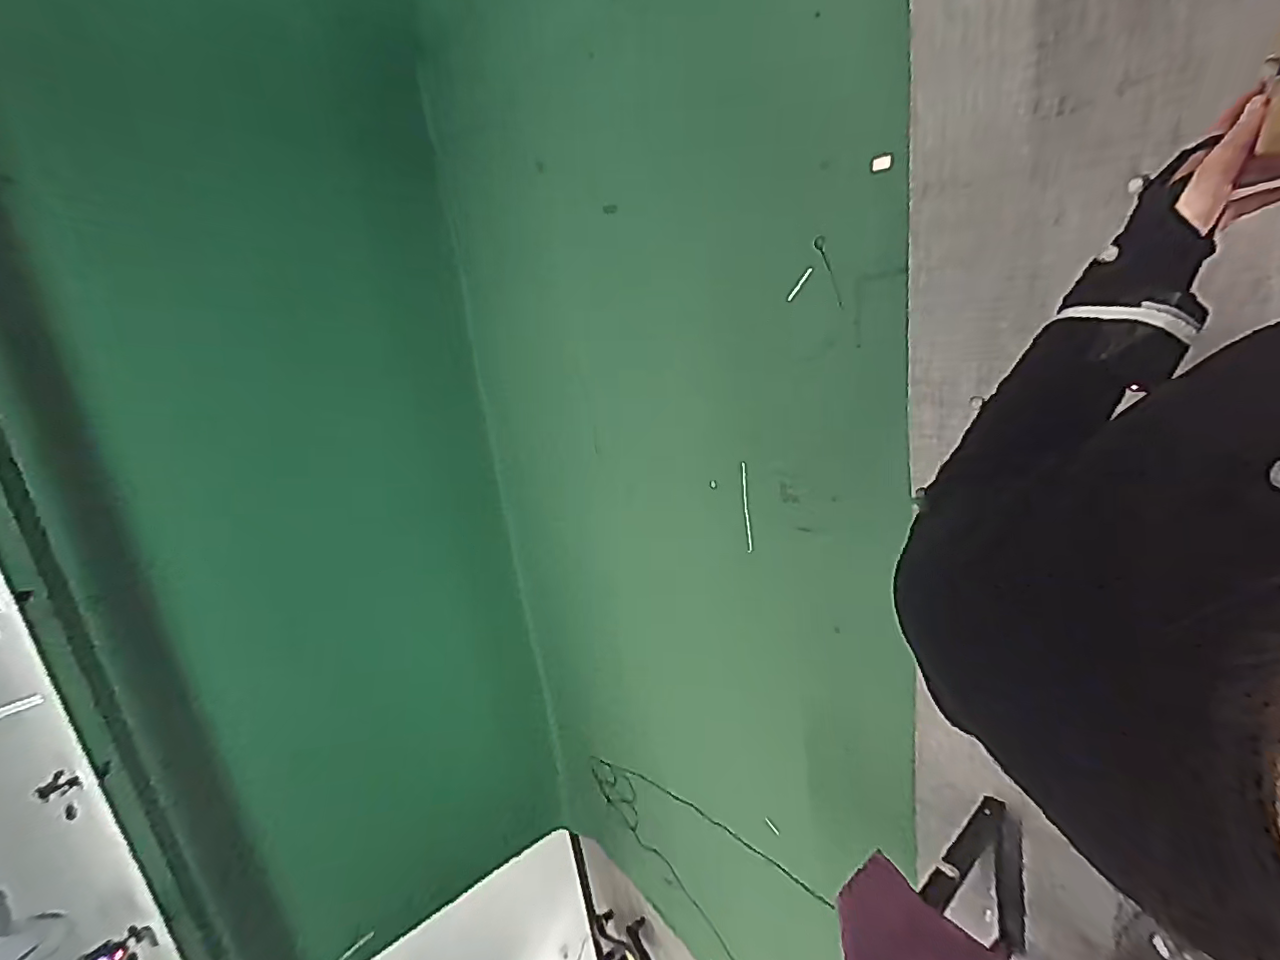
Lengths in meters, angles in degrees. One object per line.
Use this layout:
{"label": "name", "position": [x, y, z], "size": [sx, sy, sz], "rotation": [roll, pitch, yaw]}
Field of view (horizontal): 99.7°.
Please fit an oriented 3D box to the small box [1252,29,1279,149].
{"label": "small box", "position": [0.476, -0.286, 0.282], "size": [0.168, 0.176, 0.179], "rotation": [17, 116, 35]}
